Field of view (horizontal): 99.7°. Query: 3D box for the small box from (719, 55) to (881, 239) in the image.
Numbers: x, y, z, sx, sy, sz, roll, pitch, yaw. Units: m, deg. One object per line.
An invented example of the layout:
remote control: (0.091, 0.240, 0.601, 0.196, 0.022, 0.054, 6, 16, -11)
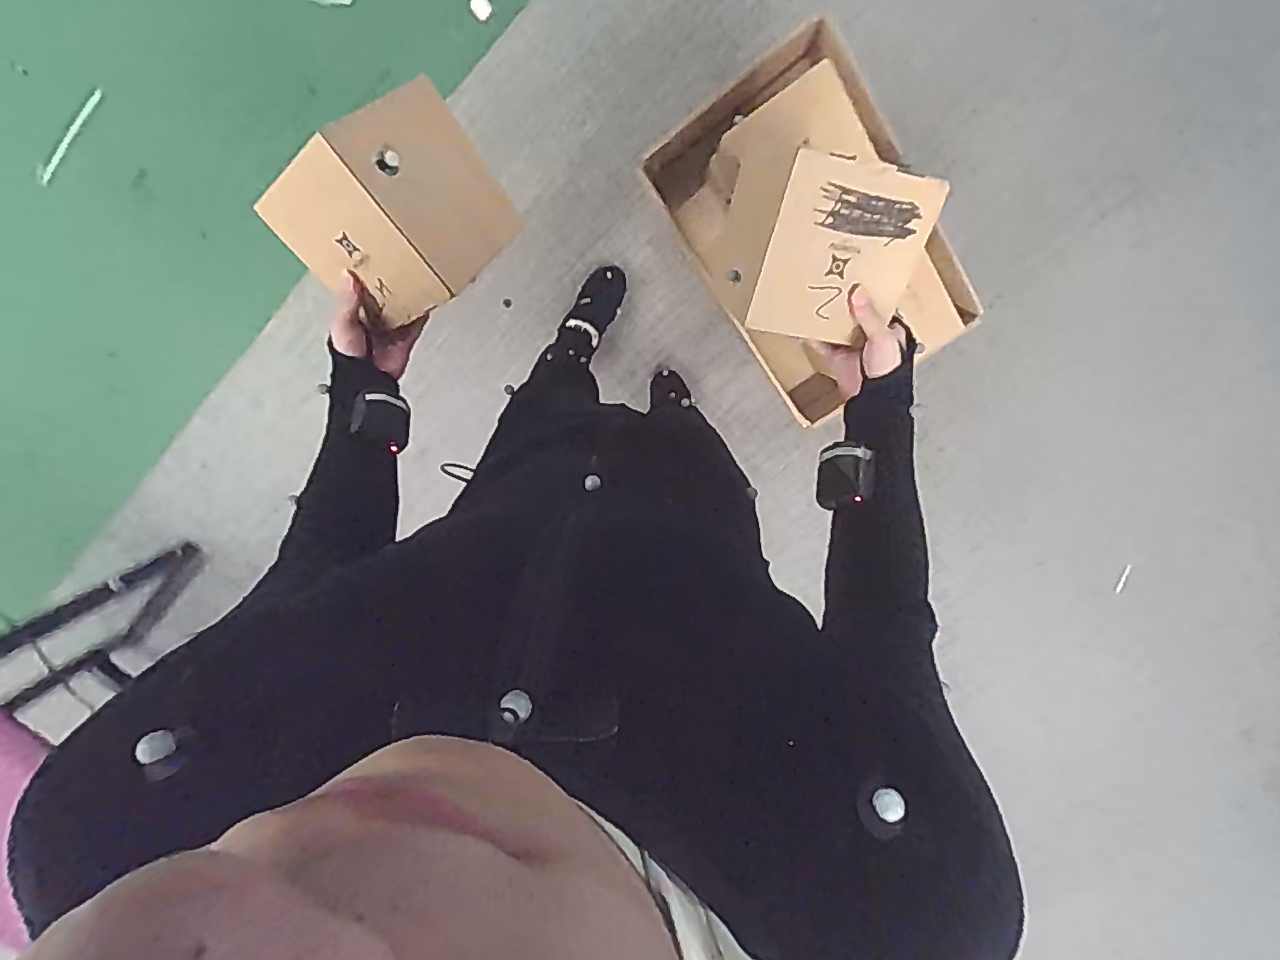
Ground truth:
small box: (0.243, -0.512, 0.864, 0.179, 0.176, 0.168, -32, 104, 13)

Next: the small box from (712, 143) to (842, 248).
small box: (0.248, -0.564, 1.019, 0.168, 0.176, 0.179, -30, 104, 12)

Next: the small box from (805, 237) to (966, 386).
small box: (0.402, -0.283, 0.924, 0.179, 0.176, 0.168, -32, 104, 11)

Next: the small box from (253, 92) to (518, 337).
small box: (-0.278, -0.301, 0.616, 0.168, 0.176, 0.179, -9, 134, 39)
